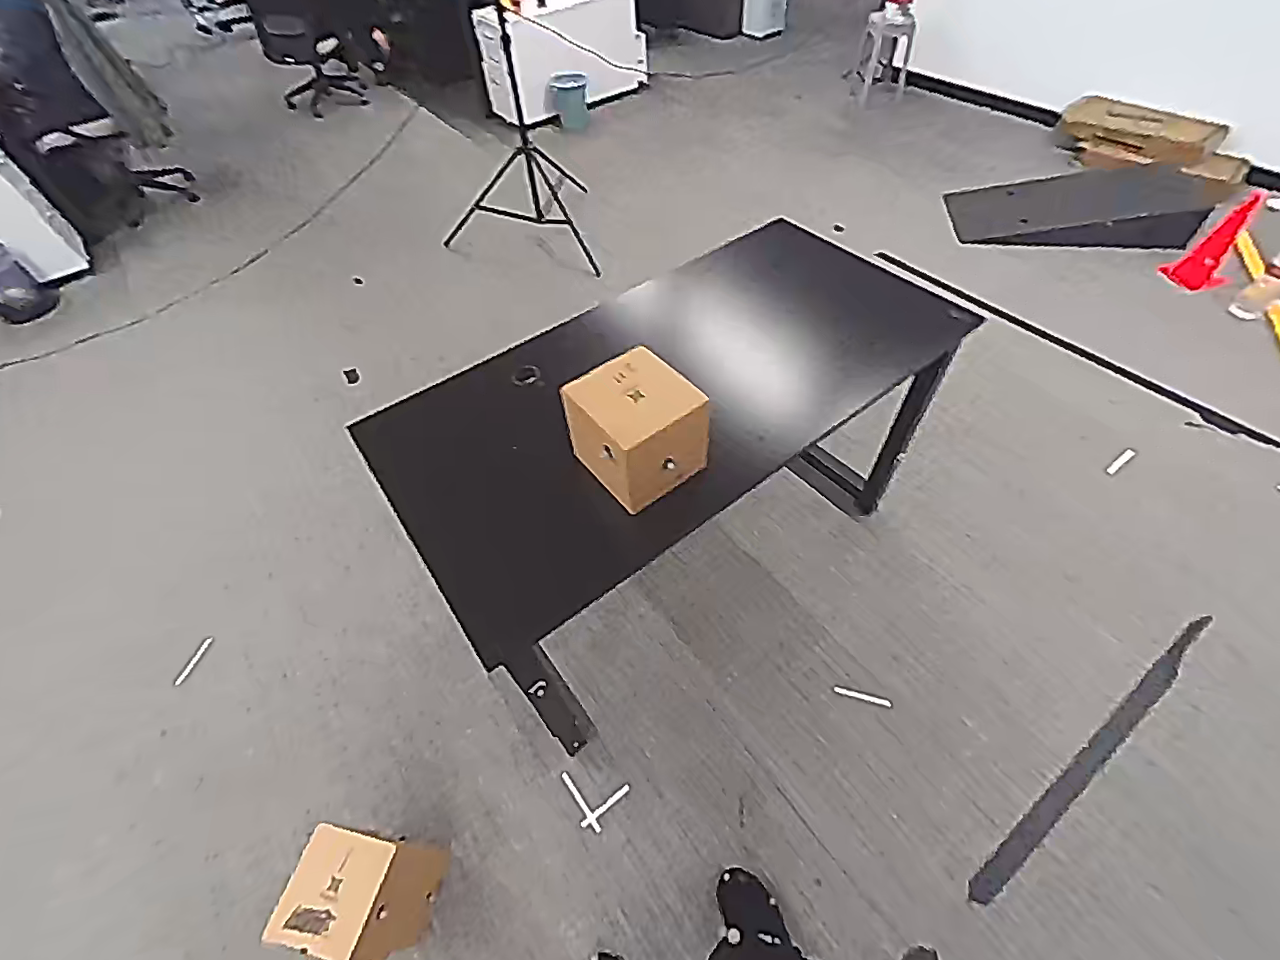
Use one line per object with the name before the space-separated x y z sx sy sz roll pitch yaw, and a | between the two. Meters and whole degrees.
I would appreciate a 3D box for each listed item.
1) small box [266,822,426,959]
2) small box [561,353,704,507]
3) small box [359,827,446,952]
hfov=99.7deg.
small box | -0.533 0.771 1.013 0.168 0.176 0.179 9 53 10
small box | -0.008 -0.077 0.919 0.168 0.176 0.179 -33 57 -20
small box | -0.536 0.867 1.149 0.168 0.176 0.179 7 52 10
